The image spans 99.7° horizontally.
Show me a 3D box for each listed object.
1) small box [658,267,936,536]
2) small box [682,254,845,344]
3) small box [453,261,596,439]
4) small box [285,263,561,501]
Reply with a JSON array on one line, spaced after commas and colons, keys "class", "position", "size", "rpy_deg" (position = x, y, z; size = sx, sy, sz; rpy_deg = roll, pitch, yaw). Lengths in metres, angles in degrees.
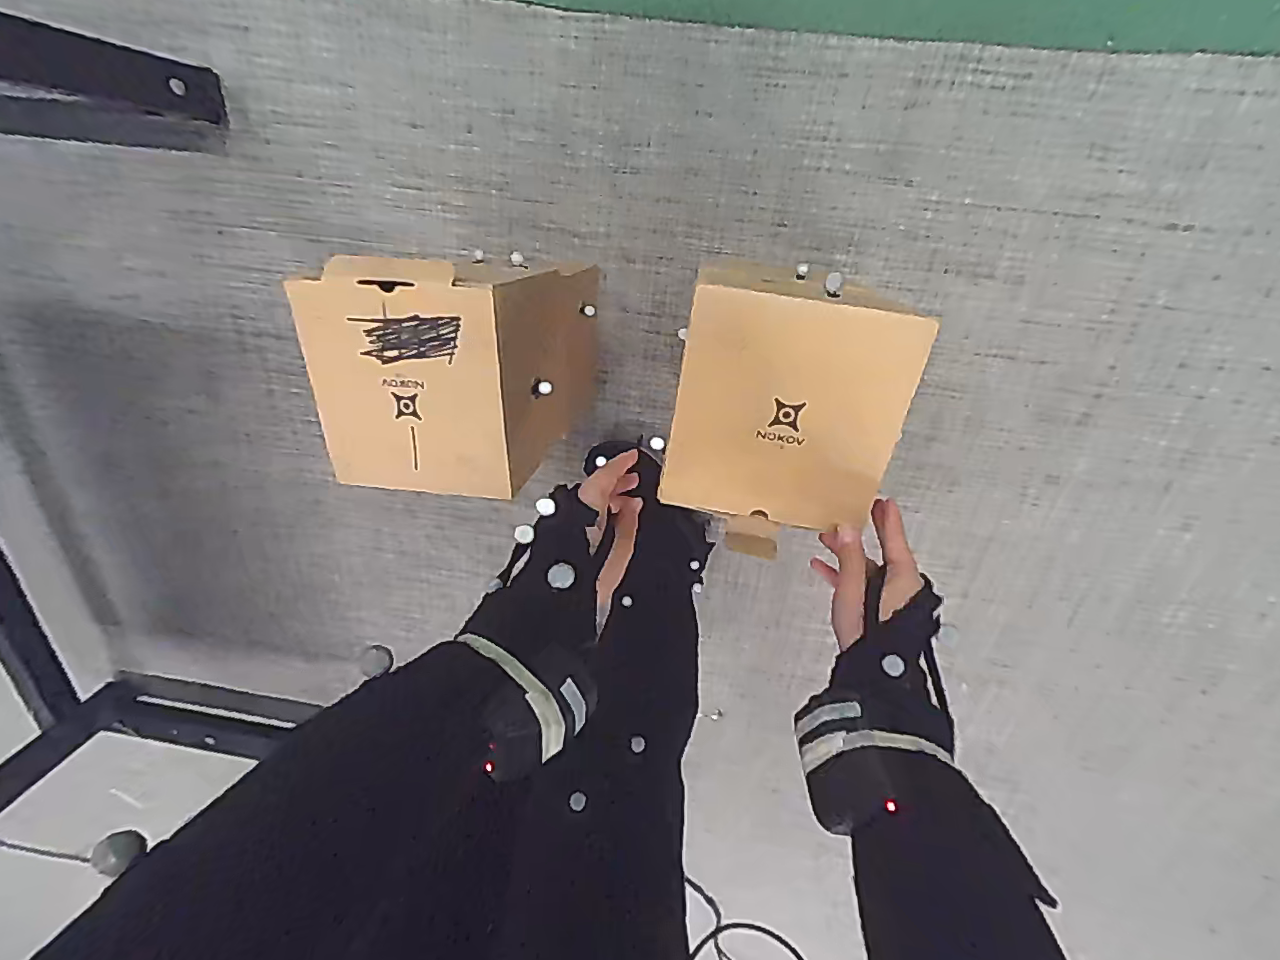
[{"class": "small box", "position": [0.114, -0.079, 0.467], "size": [0.168, 0.176, 0.179], "rpy_deg": [10, 116, 3]}, {"class": "small box", "position": [0.132, -0.148, 0.614], "size": [0.168, 0.176, 0.179], "rpy_deg": [9, 118, 3]}, {"class": "small box", "position": [-0.151, -0.164, 0.649], "size": [0.168, 0.176, 0.179], "rpy_deg": [5, 116, 7]}, {"class": "small box", "position": [-0.175, -0.101, 0.499], "size": [0.168, 0.176, 0.179], "rpy_deg": [5, 117, 7]}]
